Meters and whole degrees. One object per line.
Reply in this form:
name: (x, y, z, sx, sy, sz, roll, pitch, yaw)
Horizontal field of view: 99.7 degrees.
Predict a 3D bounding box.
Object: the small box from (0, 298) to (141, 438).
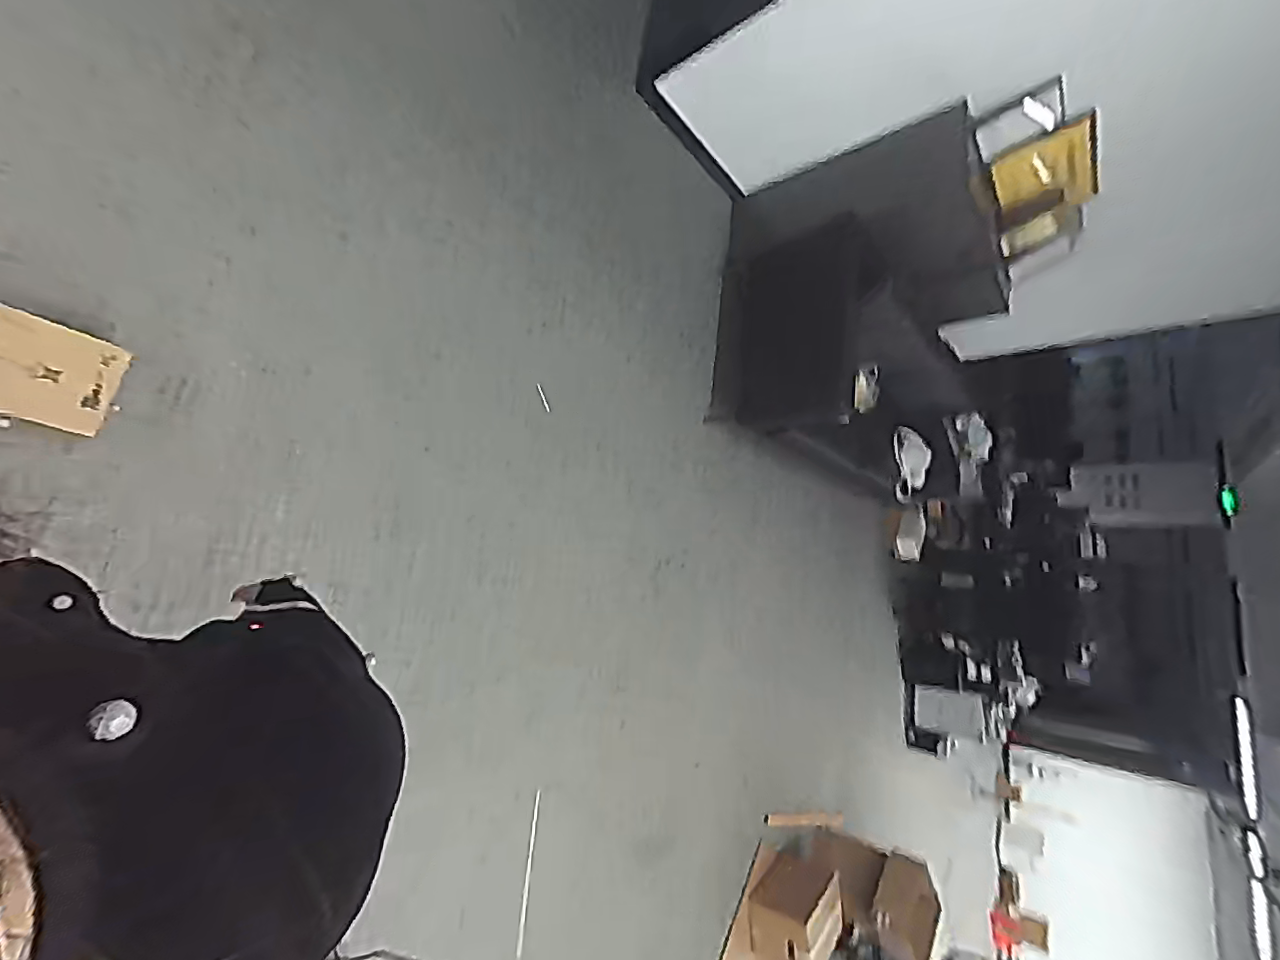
small box: (-1.018, -0.179, 0.933, 0.179, 0.176, 0.168, 26, 69, -45)
